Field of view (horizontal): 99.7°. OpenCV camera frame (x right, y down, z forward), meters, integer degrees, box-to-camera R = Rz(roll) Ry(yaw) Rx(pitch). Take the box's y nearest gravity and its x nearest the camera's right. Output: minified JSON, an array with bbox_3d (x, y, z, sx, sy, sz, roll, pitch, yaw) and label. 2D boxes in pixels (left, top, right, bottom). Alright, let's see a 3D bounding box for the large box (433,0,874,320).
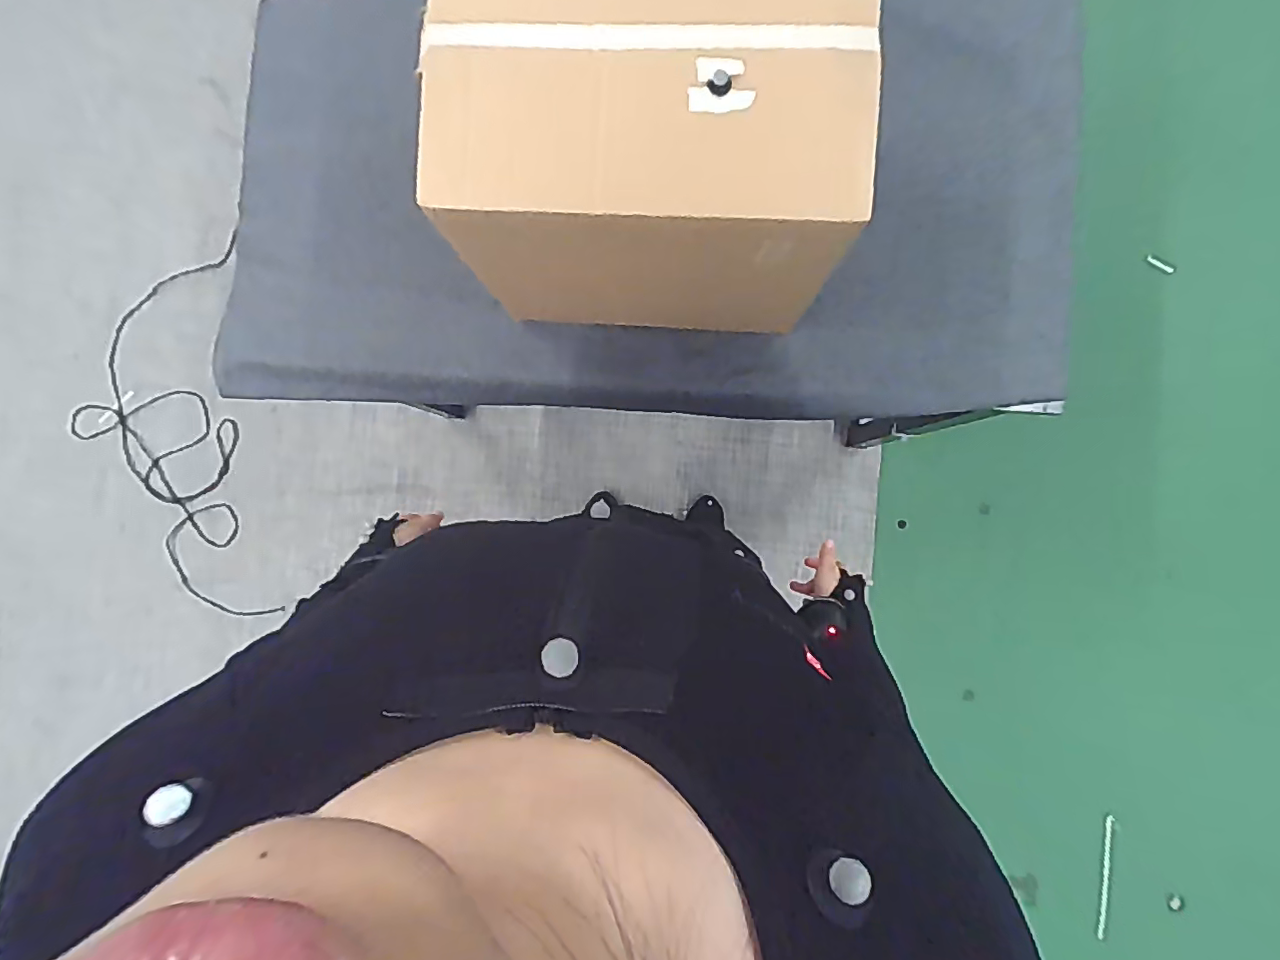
[{"bbox_3d":[0.017,-0.392,0.644,0.408,0.320,0.320,3,89,3],"label":"large box"}]
